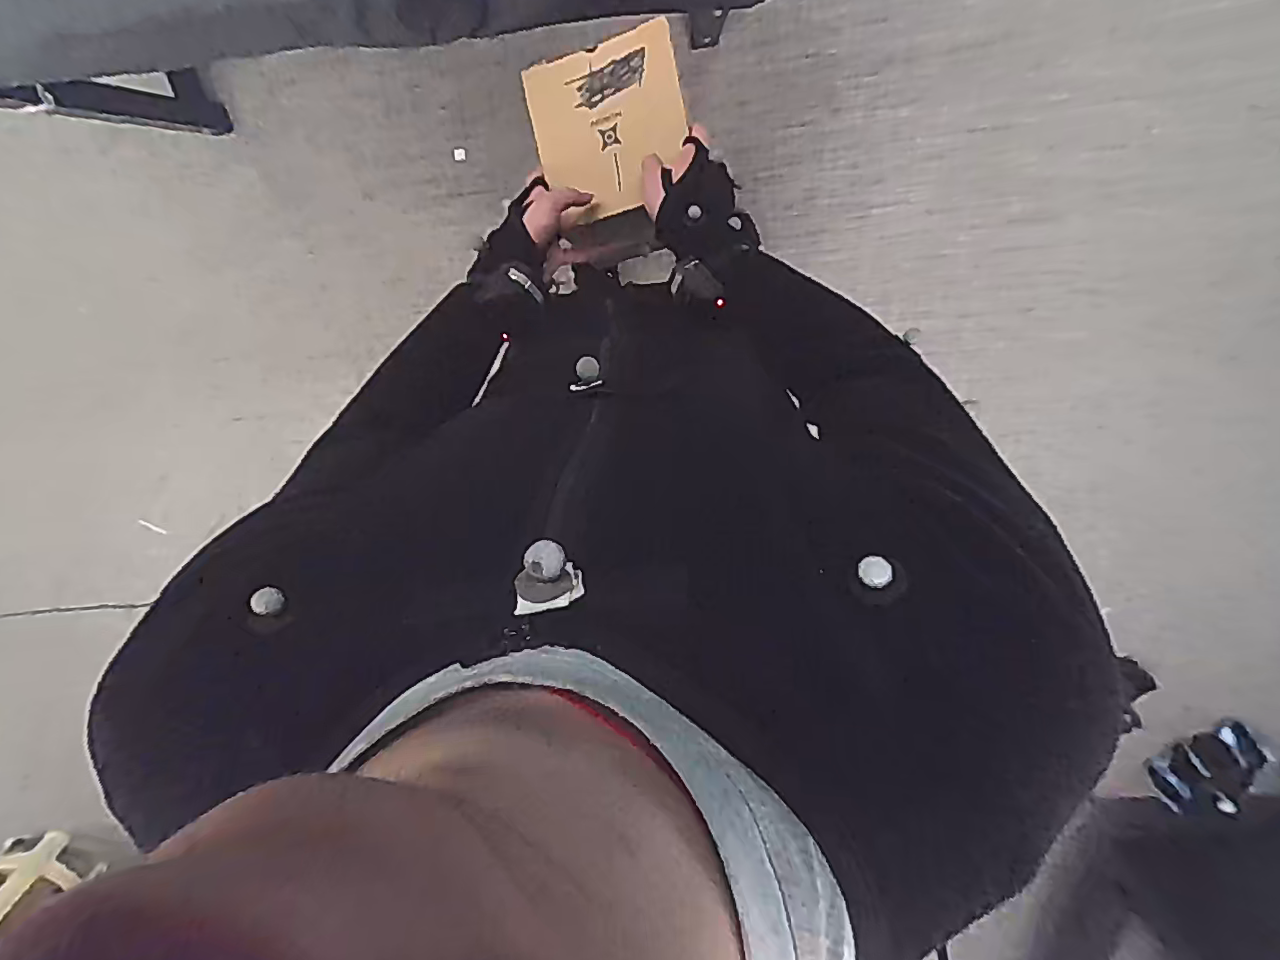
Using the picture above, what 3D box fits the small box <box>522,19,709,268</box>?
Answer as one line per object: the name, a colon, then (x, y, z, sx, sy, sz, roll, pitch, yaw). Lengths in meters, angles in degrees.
small box: (-0.018, -0.380, 0.649, 0.168, 0.176, 0.179, -11, 95, 14)
